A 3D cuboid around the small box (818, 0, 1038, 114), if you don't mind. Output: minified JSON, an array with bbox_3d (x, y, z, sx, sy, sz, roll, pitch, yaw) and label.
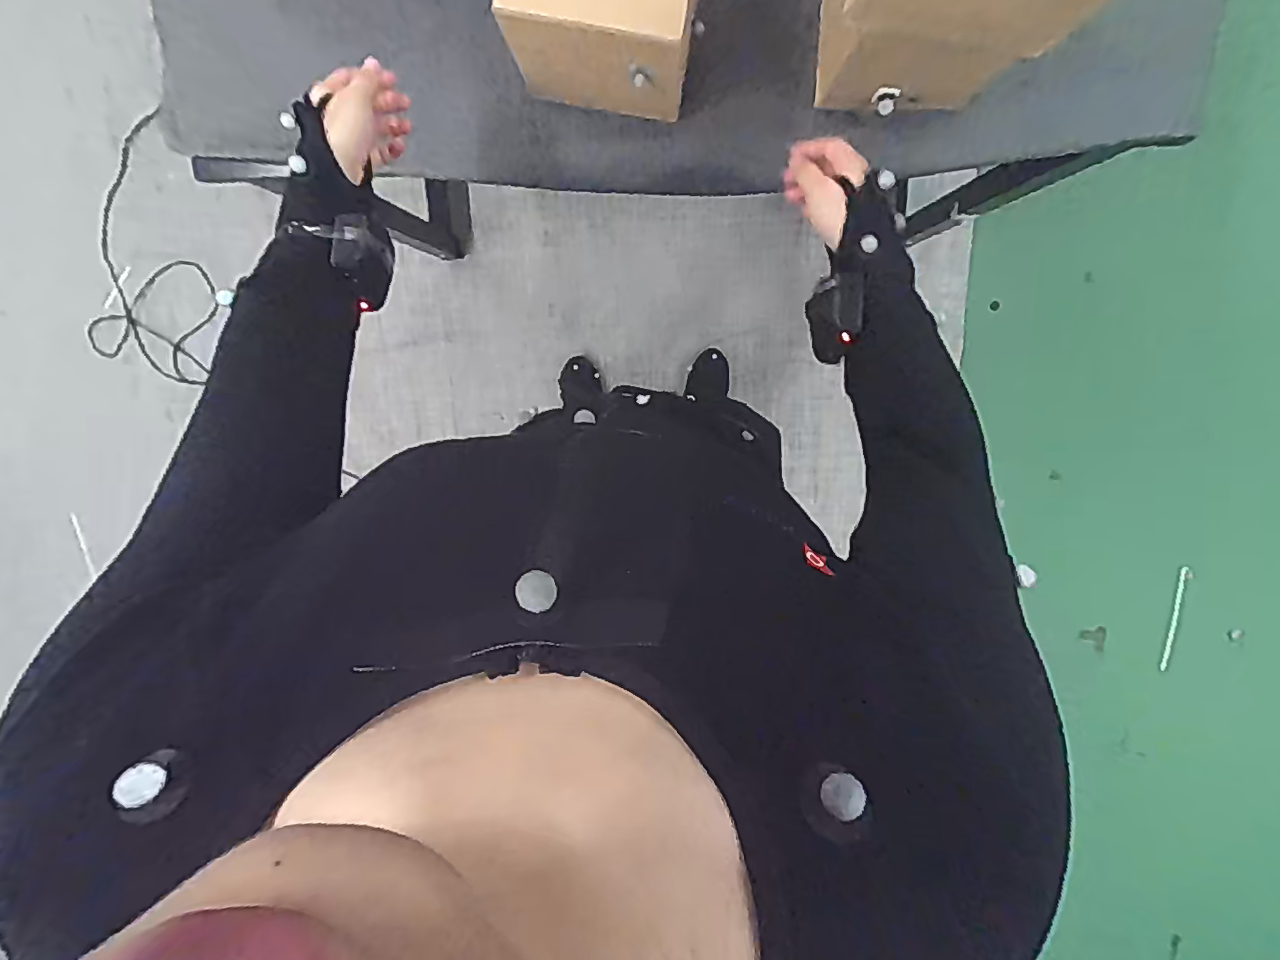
[{"bbox_3d":[0.282,-0.494,0.531,0.168,0.176,0.179,1,103,4],"label":"small box"}]

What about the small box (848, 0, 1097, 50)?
[{"bbox_3d":[0.273,-0.444,0.376,0.179,0.176,0.168,12,103,2],"label":"small box"}]
